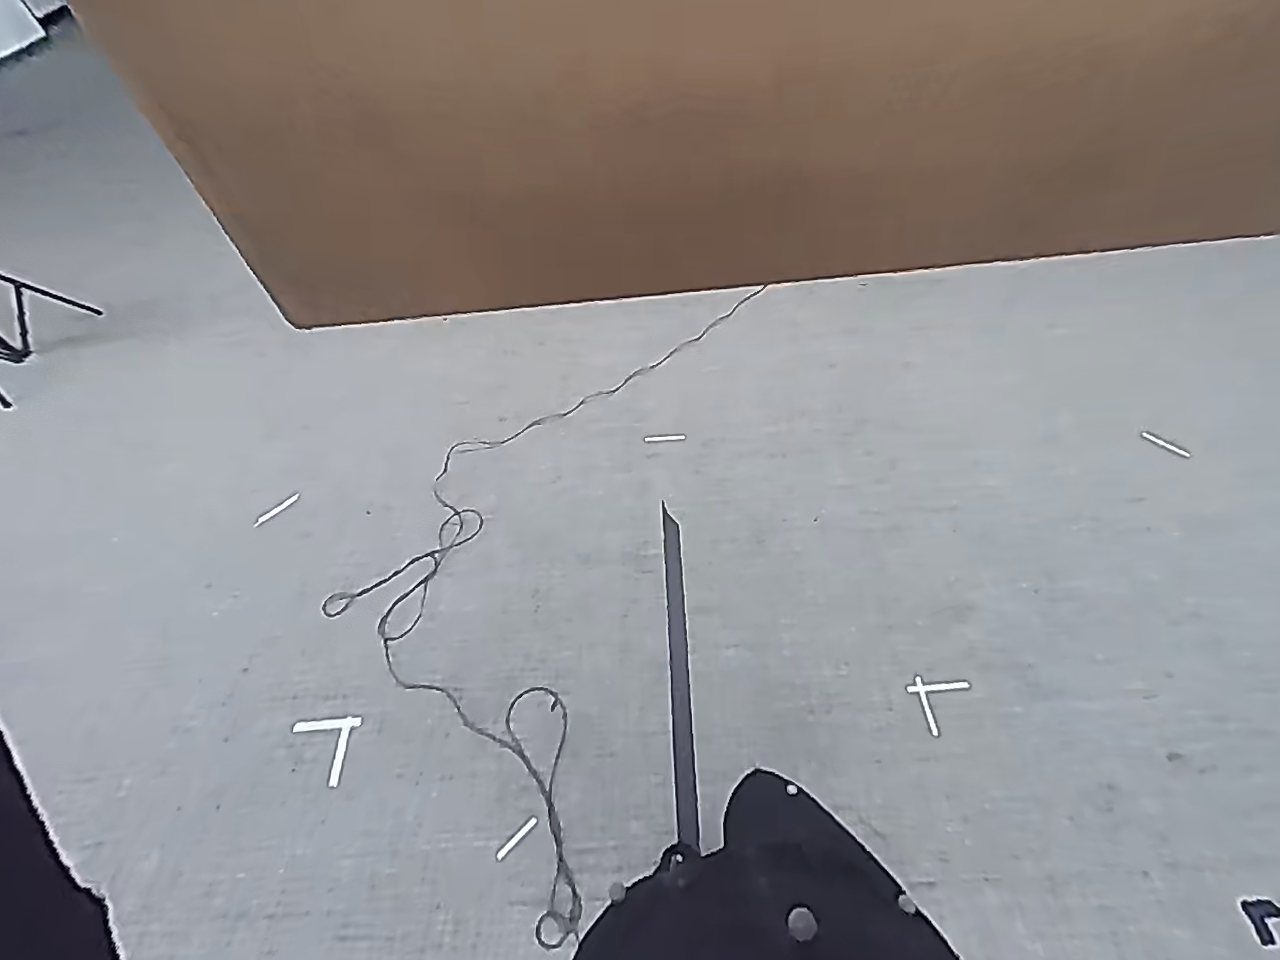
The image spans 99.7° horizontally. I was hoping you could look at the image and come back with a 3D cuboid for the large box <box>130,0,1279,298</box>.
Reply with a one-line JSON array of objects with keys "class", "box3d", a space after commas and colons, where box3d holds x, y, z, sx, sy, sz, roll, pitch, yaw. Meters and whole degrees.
[{"class": "large box", "box3d": [0.037, -0.300, 0.201, 0.408, 0.320, 0.320, -5, 53, -1]}]
